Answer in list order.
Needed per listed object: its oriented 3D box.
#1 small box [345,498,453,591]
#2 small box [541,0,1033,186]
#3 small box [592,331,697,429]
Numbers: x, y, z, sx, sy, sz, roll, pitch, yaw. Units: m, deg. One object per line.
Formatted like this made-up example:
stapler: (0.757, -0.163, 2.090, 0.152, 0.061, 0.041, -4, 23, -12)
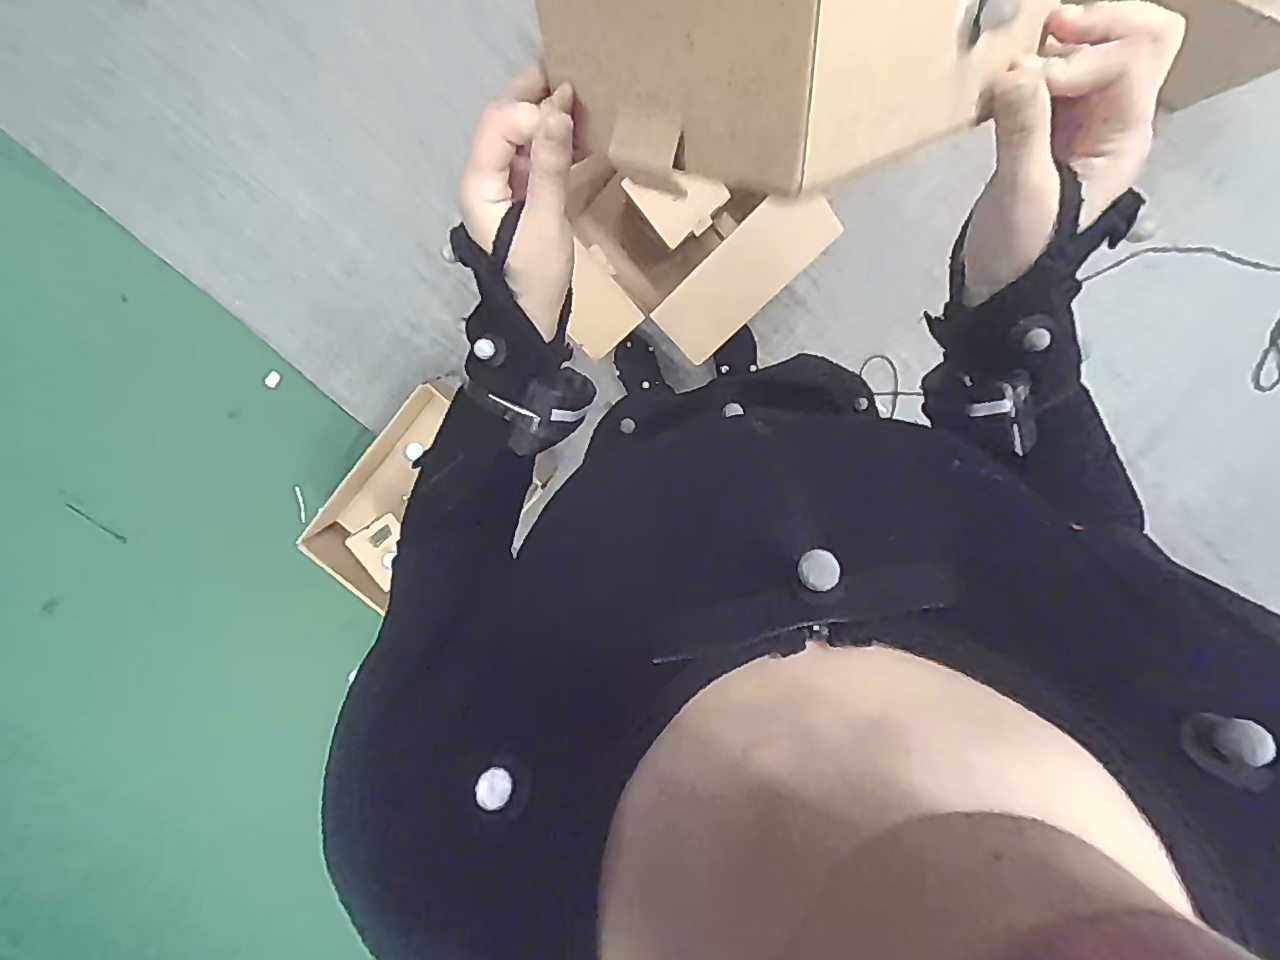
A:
small box: (-0.653, 0.166, 1.485, 0.168, 0.176, 0.179, -30, 102, 12)
small box: (0.065, -0.254, 0.222, 0.179, 0.168, 0.176, -34, 141, -22)
small box: (0.017, -0.246, 1.344, 0.176, 0.168, 0.179, 28, 83, -32)
